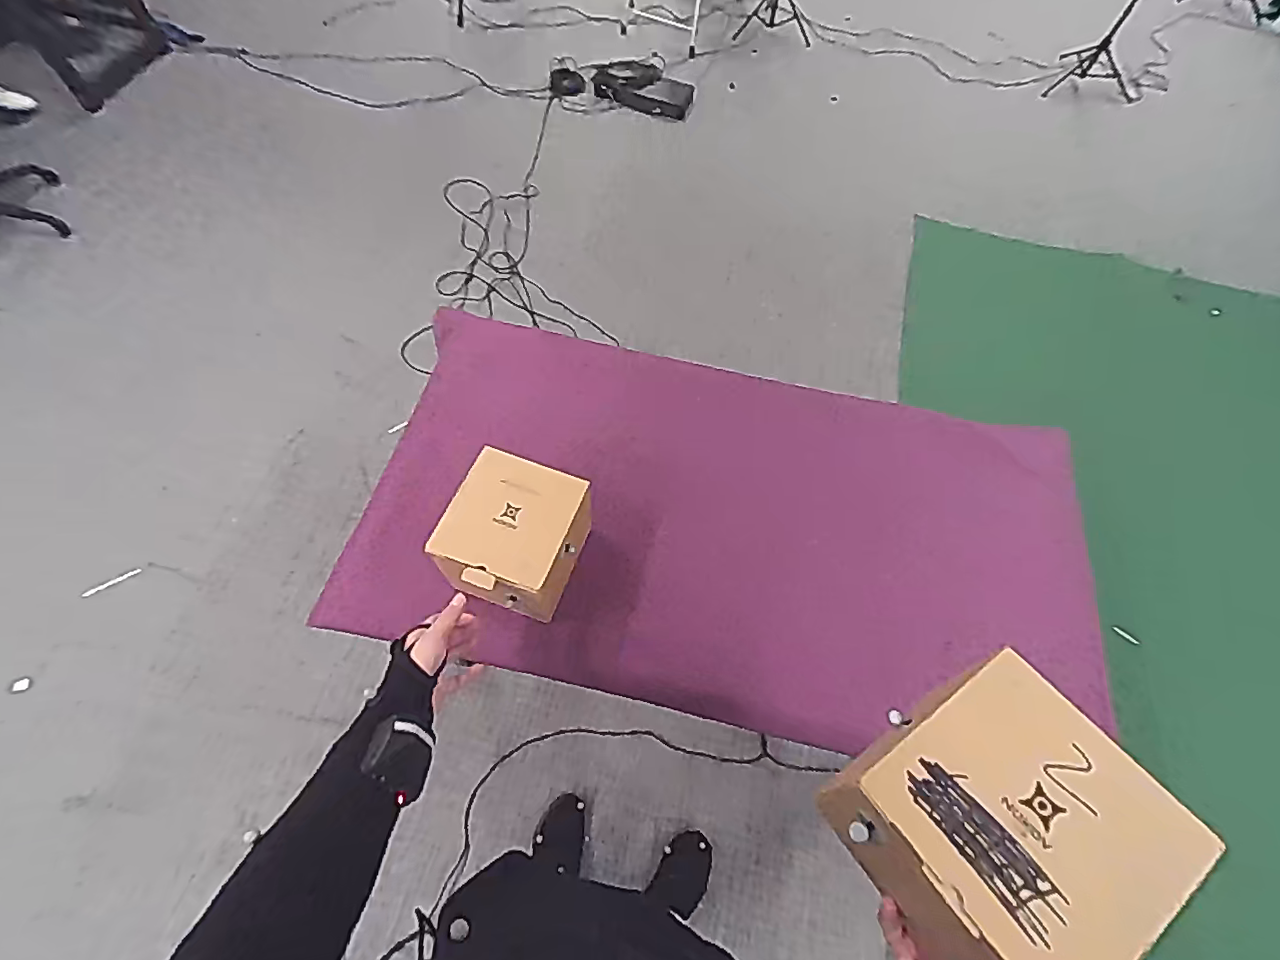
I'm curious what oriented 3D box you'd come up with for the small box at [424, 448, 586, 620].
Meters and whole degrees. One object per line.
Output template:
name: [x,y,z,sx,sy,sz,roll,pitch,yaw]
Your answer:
small box: [-0.184,0.088,0.808,0.168,0.176,0.179,20,61,6]
